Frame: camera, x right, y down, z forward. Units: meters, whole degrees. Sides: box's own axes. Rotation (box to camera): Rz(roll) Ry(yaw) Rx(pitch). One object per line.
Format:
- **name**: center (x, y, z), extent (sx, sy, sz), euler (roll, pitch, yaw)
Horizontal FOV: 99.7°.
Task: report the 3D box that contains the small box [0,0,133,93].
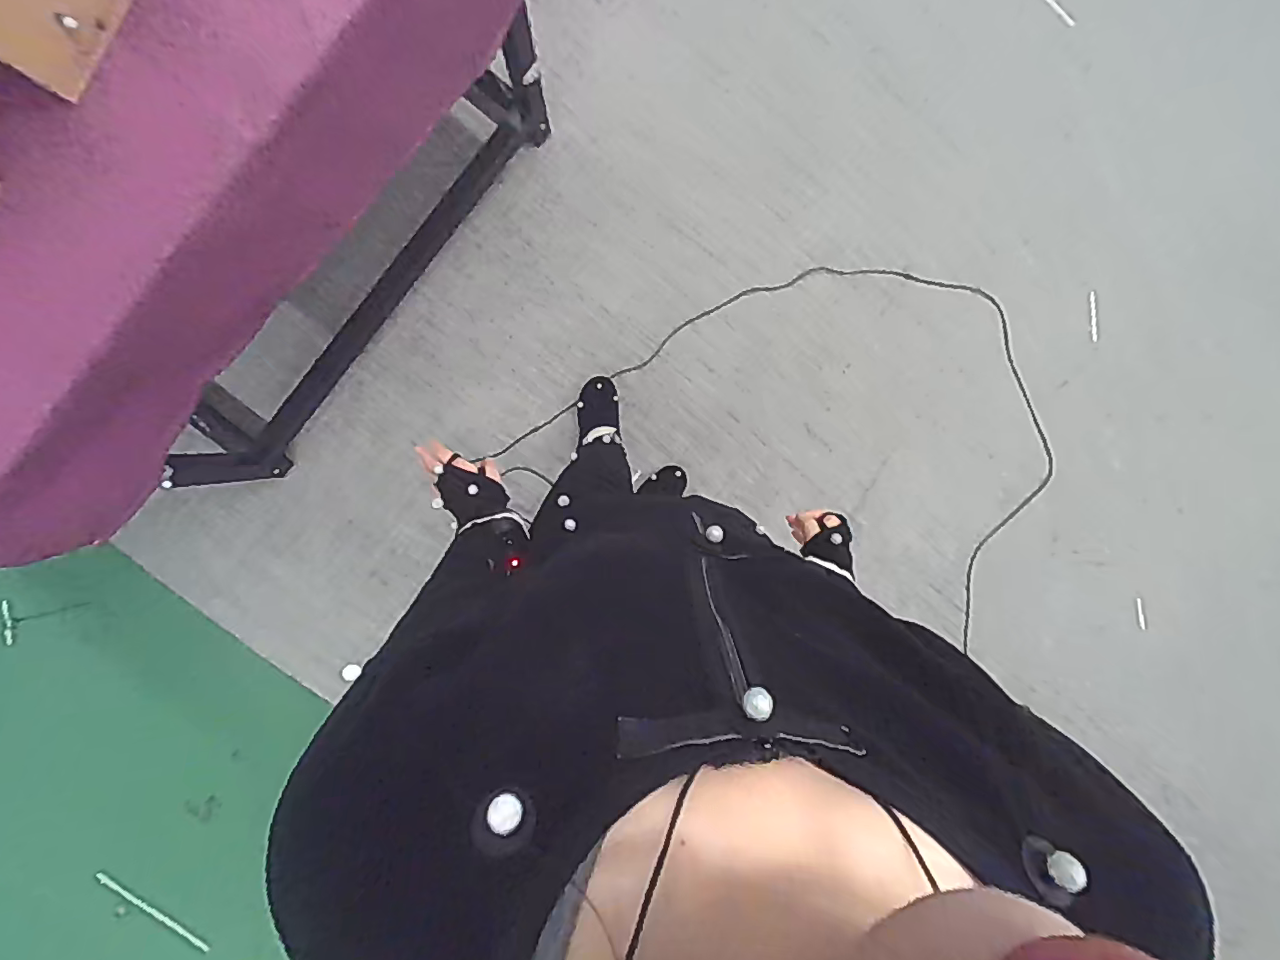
- **small box**: center (-0.768, -0.604, 0.624), extent (0.179, 0.176, 0.168), euler (31, 93, -5)
